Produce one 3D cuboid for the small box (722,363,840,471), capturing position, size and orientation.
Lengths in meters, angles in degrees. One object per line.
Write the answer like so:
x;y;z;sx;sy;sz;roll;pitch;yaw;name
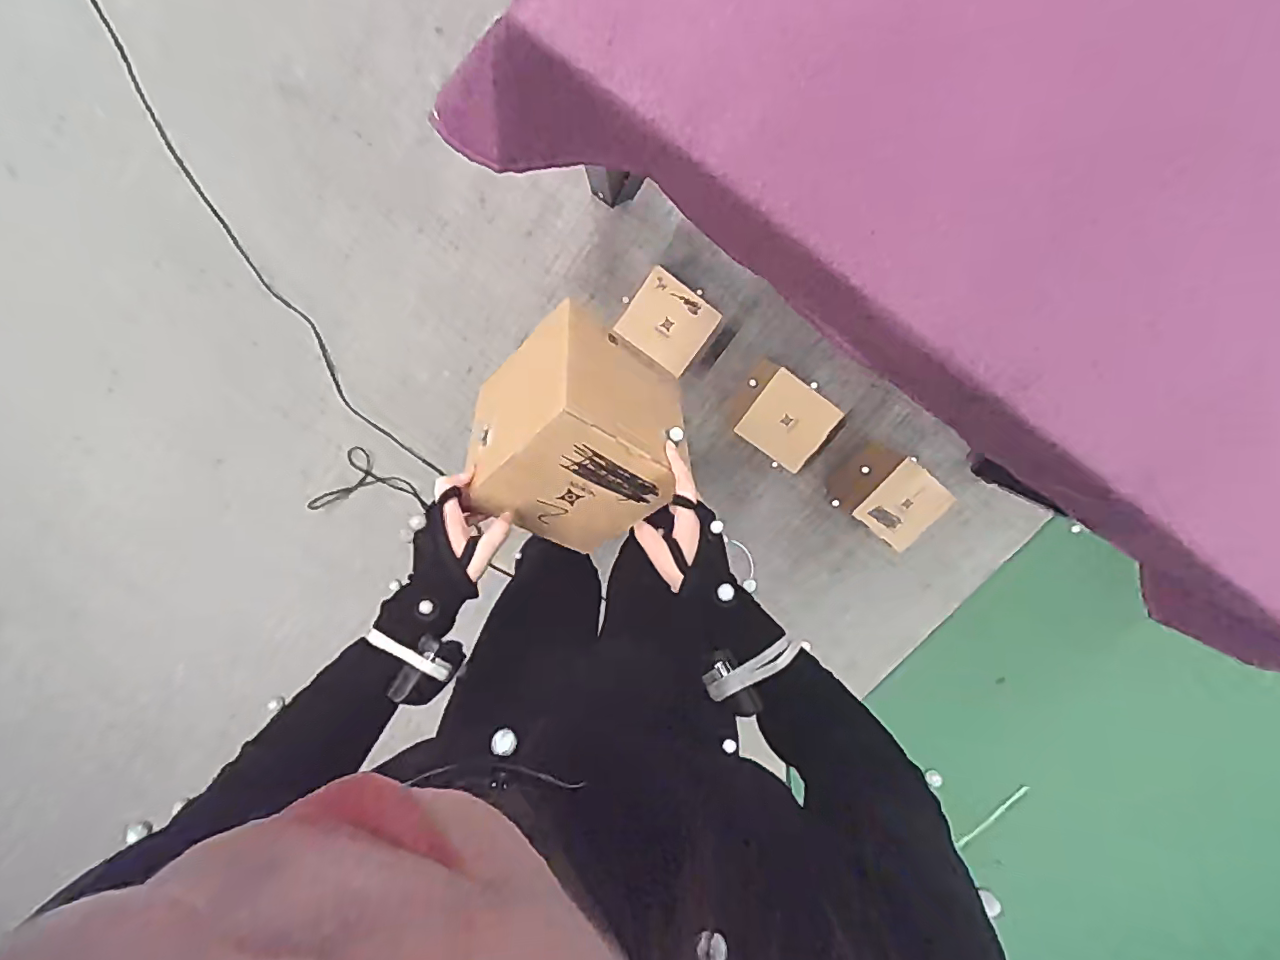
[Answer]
0.306;-0.150;1.217;0.179;0.176;0.168;34;104;-12;small box
